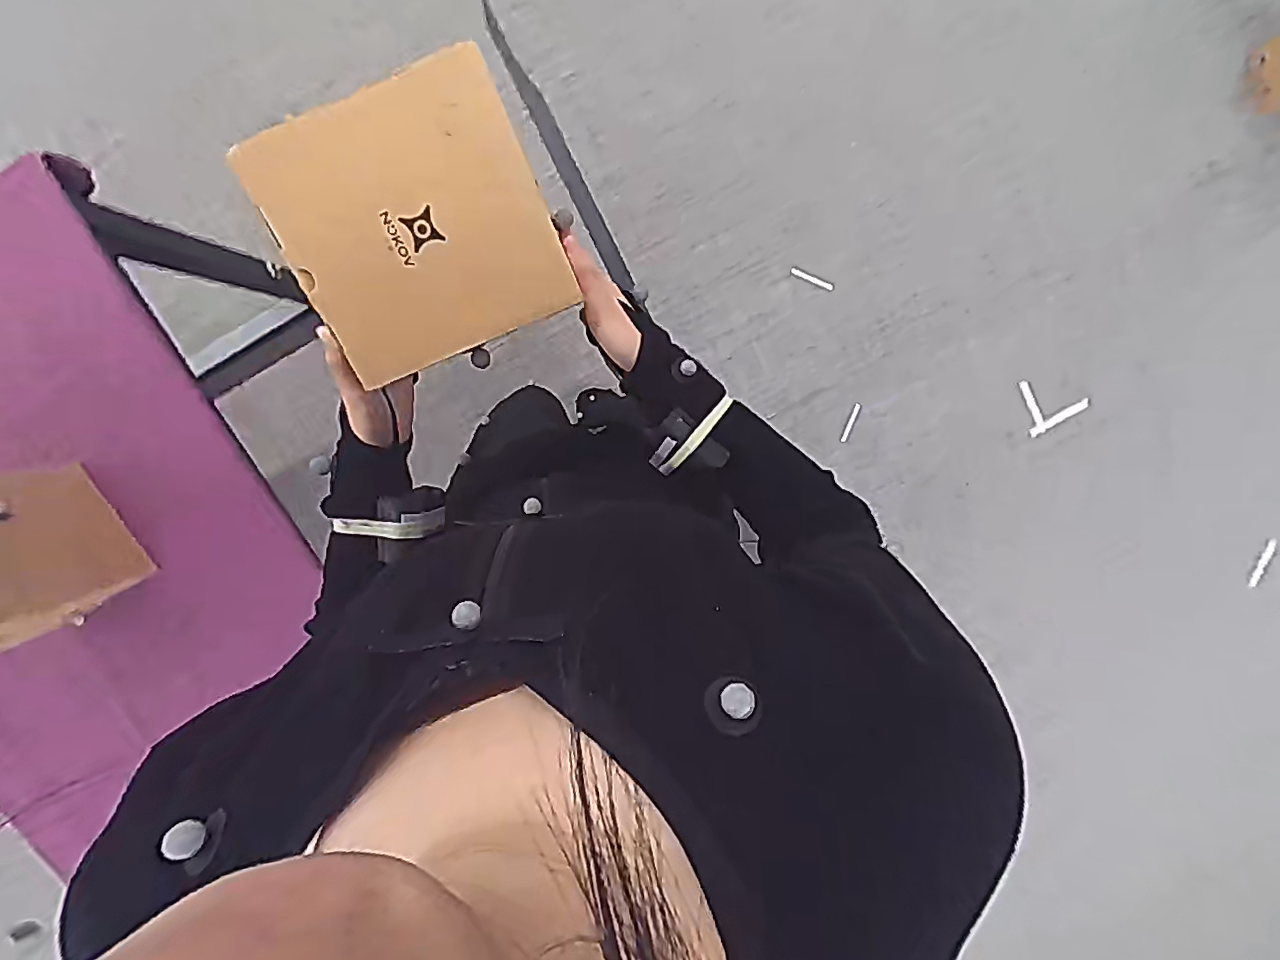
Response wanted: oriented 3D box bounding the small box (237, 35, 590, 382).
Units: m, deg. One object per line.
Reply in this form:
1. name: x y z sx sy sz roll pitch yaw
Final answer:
1. small box: -0.151 -0.200 0.433 0.179 0.176 0.168 -21 111 4

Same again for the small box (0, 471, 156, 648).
1. small box: -0.778 0.101 0.667 0.168 0.176 0.179 -29 100 4

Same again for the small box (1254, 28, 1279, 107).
1. small box: 1.630 -1.037 1.279 0.179 0.176 0.168 -30 99 3
